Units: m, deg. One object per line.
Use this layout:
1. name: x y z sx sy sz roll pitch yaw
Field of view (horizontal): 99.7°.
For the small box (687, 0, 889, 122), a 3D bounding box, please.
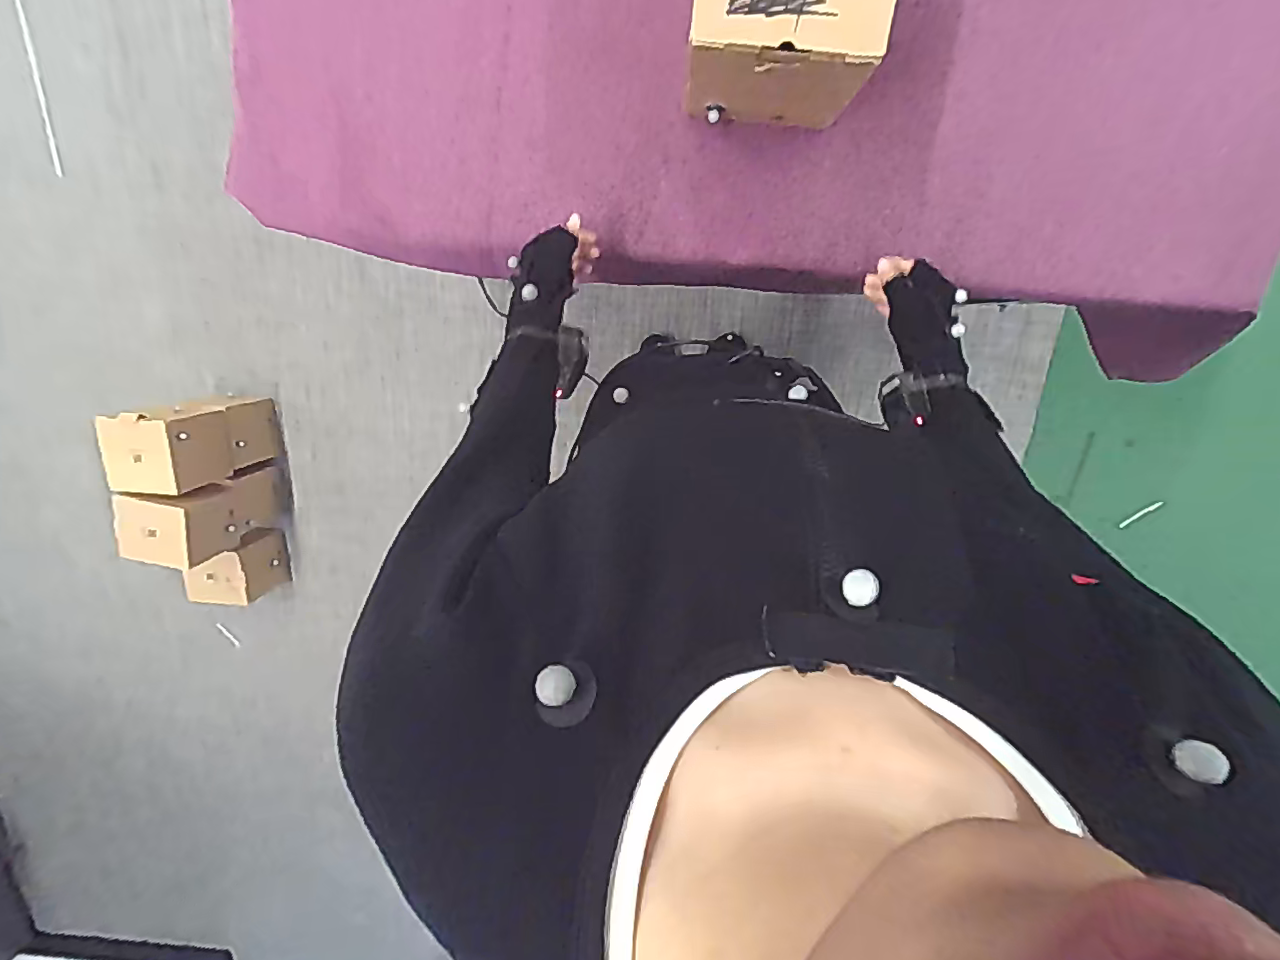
1. small box: 0.138 -0.471 0.516 0.168 0.176 0.179 7 106 2
